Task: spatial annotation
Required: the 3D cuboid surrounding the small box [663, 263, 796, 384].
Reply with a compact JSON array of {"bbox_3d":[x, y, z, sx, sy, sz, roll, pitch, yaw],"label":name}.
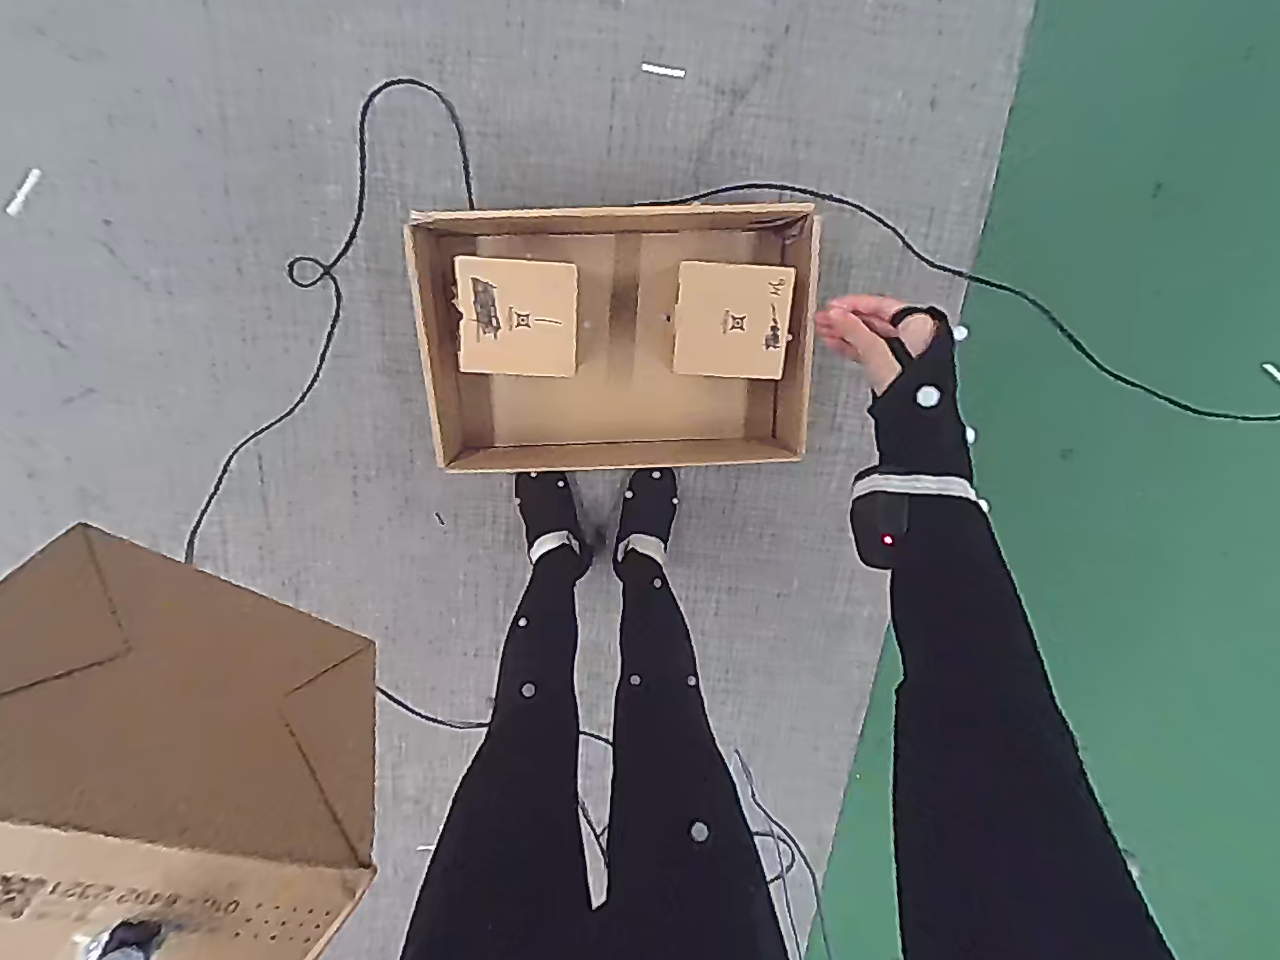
[{"bbox_3d":[0.135,-0.256,0.892,0.179,0.176,0.168,4,107,-4],"label":"small box"}]
